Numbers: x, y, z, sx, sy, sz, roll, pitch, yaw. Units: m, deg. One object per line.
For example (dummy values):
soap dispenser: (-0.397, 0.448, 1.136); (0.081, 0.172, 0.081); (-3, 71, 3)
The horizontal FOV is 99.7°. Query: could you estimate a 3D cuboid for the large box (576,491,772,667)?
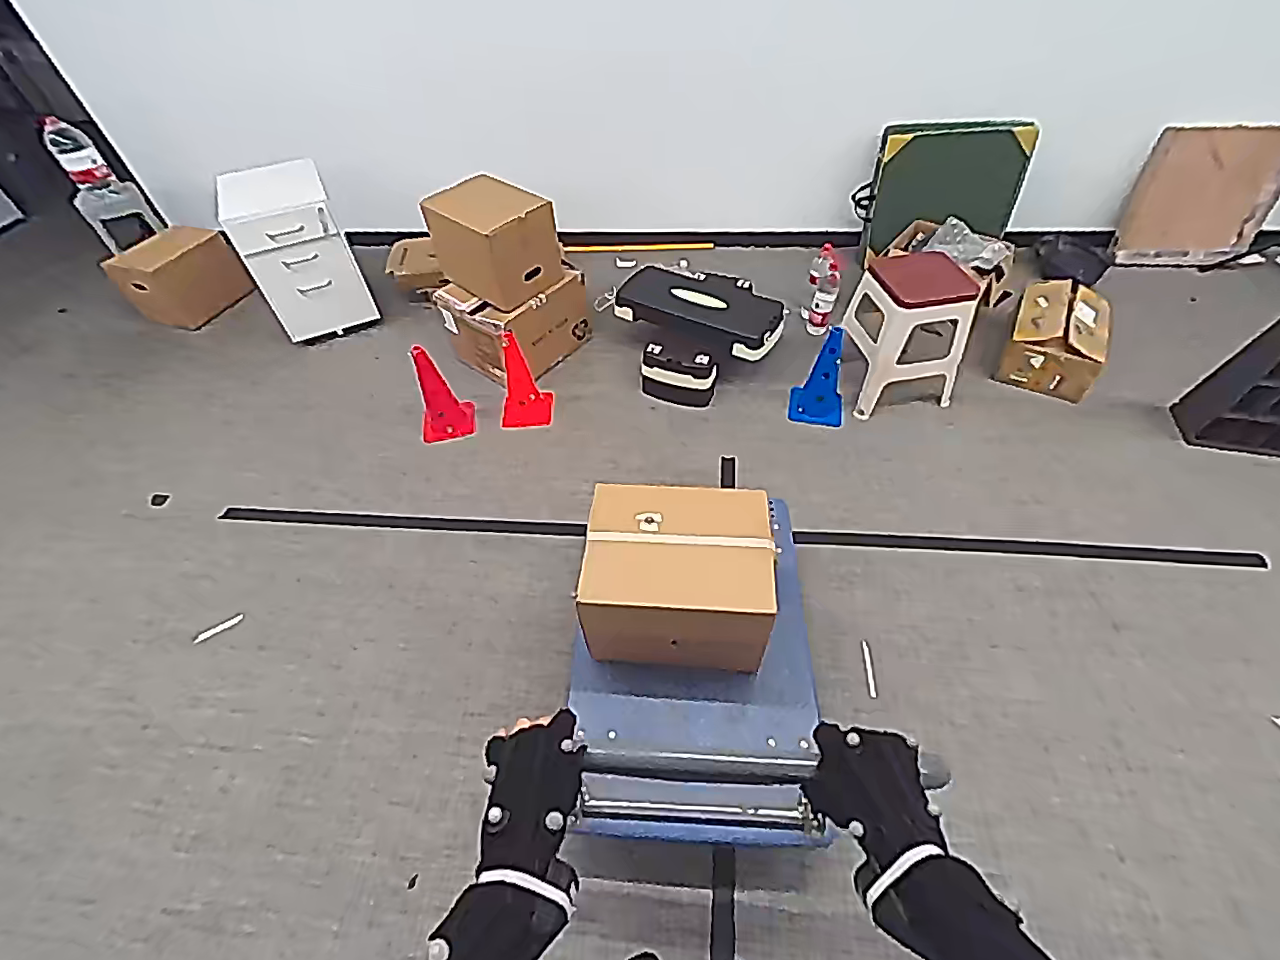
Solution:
large box: (0.087, 0.241, 1.299); (0.408, 0.320, 0.320); (2, 50, 6)
